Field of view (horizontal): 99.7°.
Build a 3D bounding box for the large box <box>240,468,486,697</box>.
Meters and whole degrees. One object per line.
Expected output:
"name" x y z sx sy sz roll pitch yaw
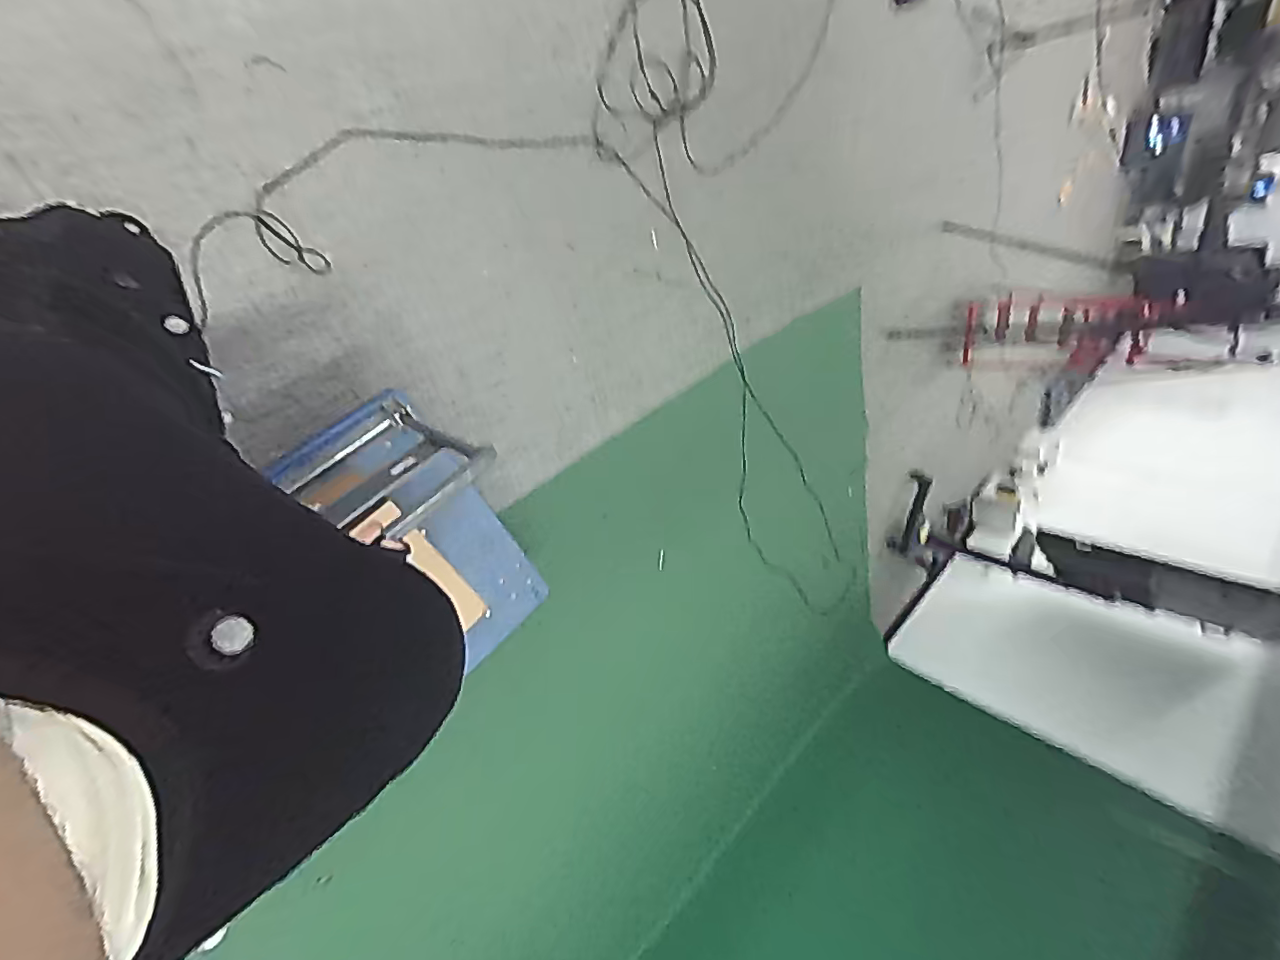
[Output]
"large box" -0.665 0.240 1.322 0.320 0.320 0.408 -44 130 -22
